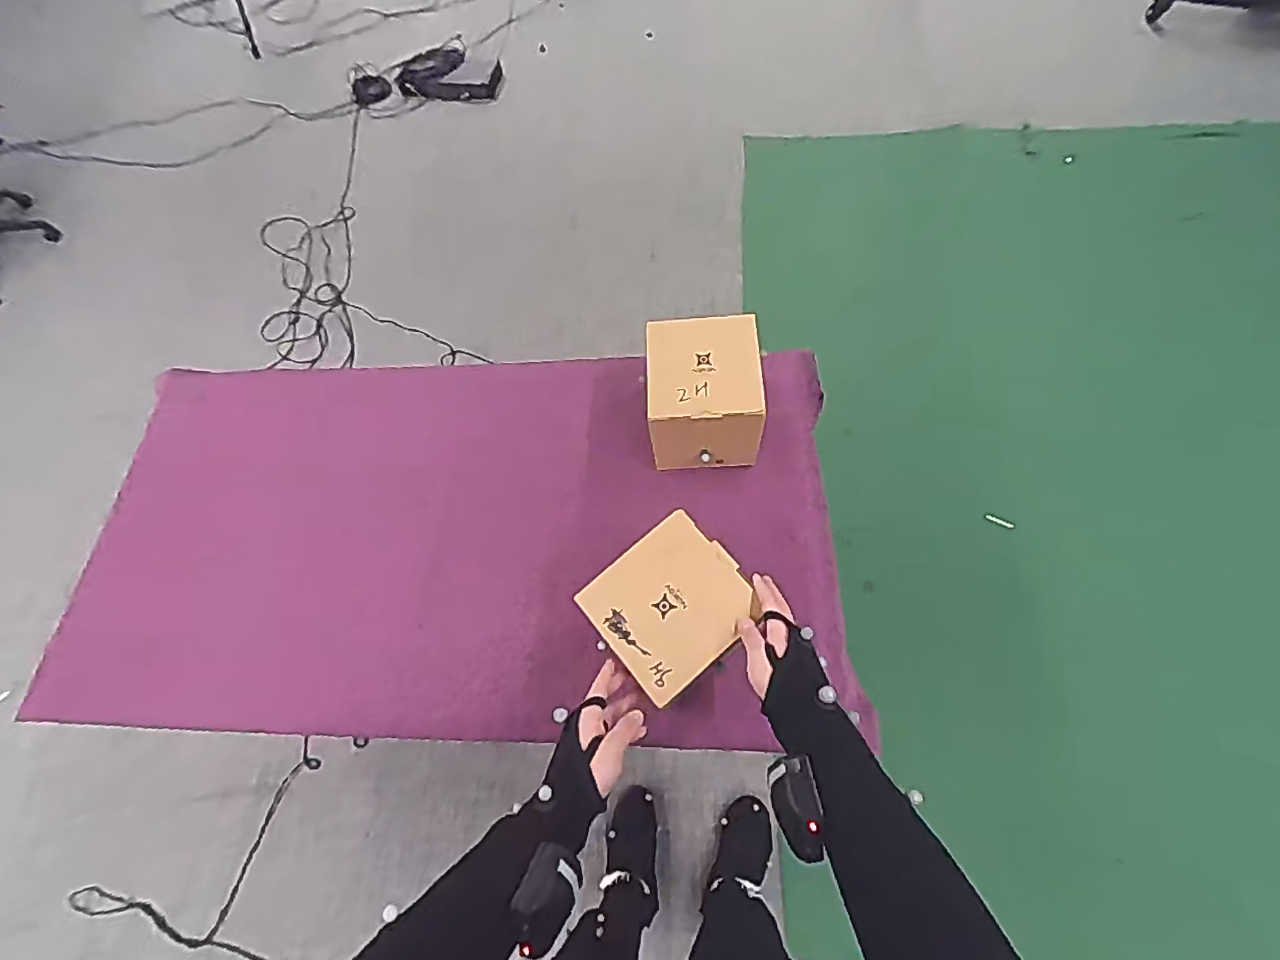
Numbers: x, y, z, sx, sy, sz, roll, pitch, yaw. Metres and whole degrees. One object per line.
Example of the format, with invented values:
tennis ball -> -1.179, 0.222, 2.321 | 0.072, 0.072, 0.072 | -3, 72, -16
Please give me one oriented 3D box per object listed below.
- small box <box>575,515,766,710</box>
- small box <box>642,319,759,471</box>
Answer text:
small box -> 0.042, 0.181, 0.724 | 0.179, 0.176, 0.168 | -39, 68, -8
small box -> 0.094, -0.129, 0.860 | 0.168, 0.176, 0.179 | -3, 66, 7
